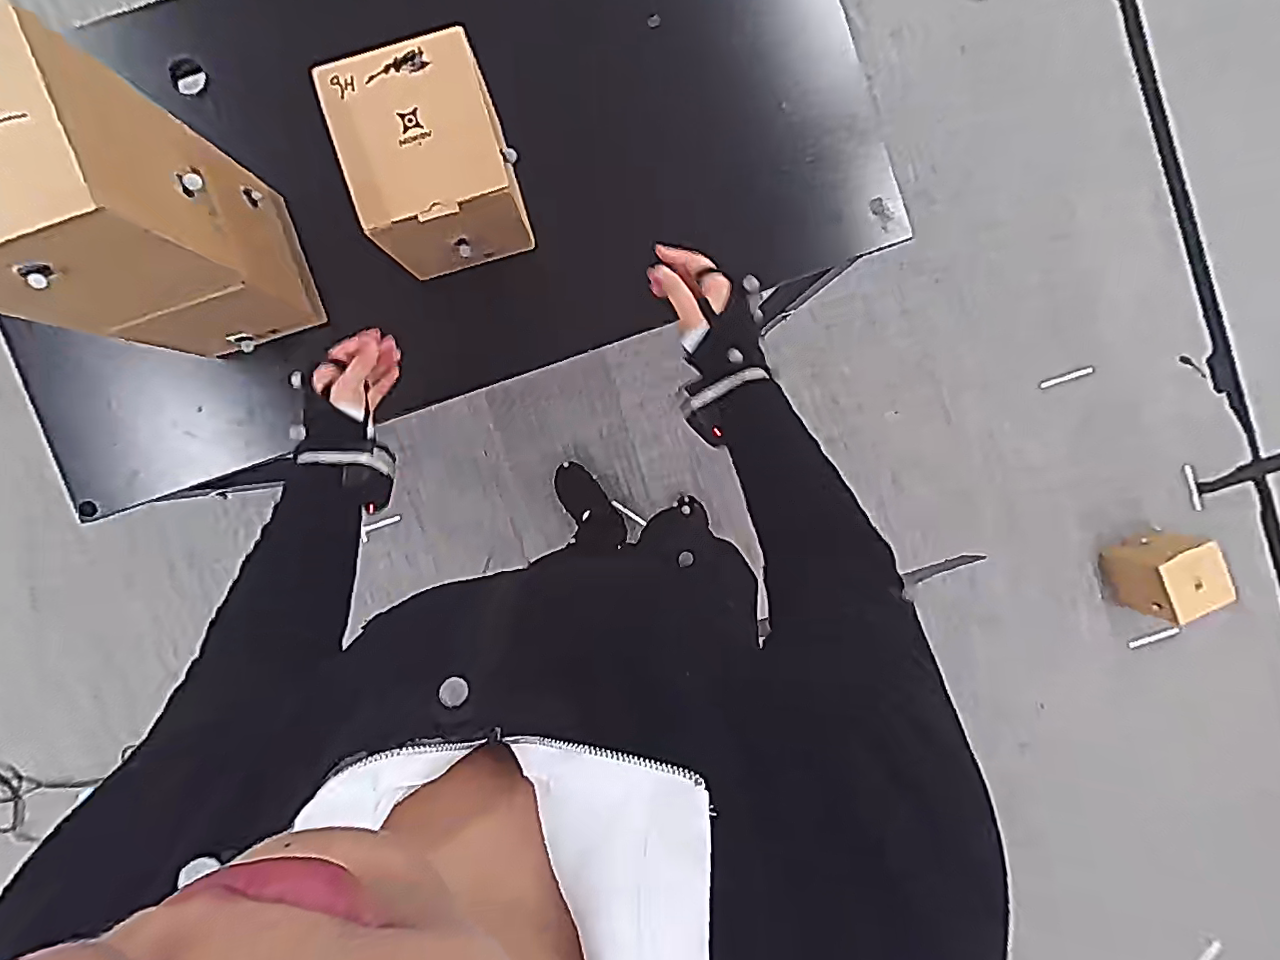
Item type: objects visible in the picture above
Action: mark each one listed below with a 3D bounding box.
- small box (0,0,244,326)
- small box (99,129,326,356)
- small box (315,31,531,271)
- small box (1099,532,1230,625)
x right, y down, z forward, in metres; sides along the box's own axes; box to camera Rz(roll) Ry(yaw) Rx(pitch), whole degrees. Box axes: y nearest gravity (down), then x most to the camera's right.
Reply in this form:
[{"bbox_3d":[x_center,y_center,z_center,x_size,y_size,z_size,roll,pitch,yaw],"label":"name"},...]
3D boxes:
[{"bbox_3d":[-0.516,-0.256,0.483,0.179,0.176,0.168,-20,93,-1],"label":"small box"},{"bbox_3d":[-0.521,-0.266,0.647,0.168,0.176,0.179,-19,94,0],"label":"small box"},{"bbox_3d":[-0.241,-0.371,0.651,0.168,0.176,0.179,-17,94,-1],"label":"small box"},{"bbox_3d":[1.418,0.260,1.472,0.168,0.176,0.179,-25,94,0],"label":"small box"}]
